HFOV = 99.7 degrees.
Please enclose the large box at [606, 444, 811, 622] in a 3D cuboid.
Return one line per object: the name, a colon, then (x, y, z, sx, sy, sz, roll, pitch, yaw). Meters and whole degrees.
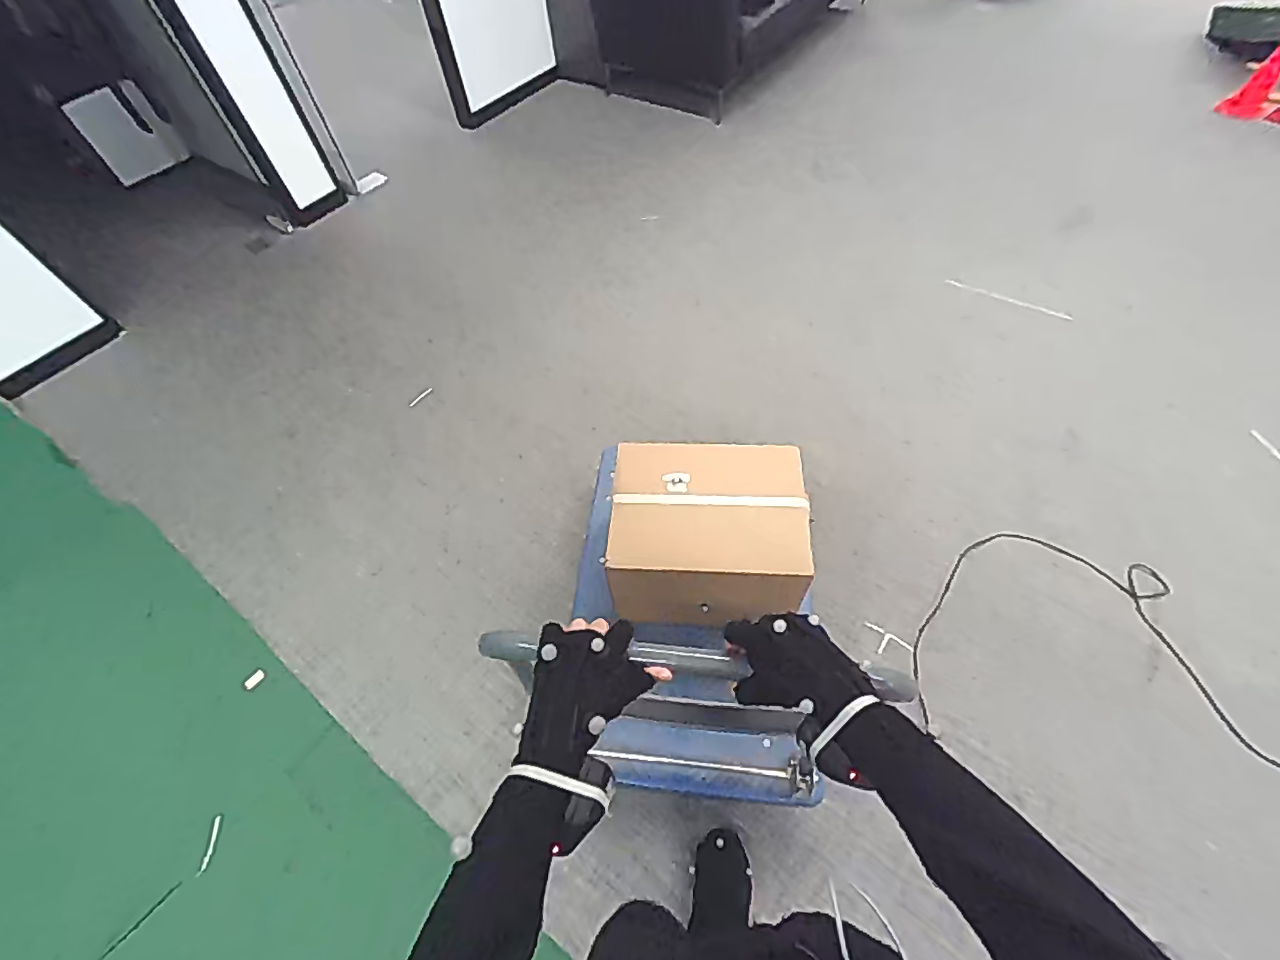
large box: (0.149, 0.130, 1.255, 0.408, 0.320, 0.320, 1, 56, 5)
